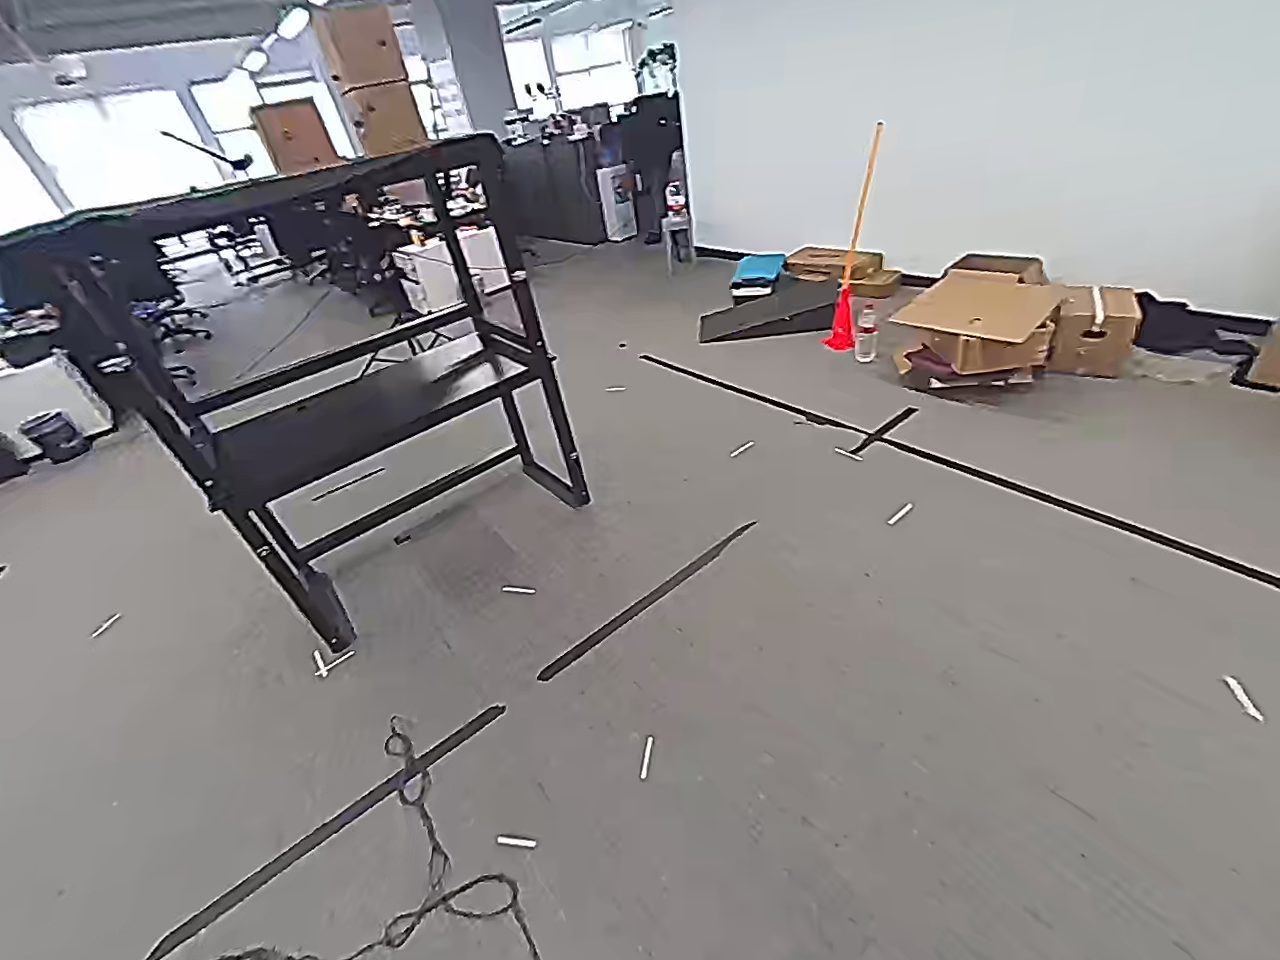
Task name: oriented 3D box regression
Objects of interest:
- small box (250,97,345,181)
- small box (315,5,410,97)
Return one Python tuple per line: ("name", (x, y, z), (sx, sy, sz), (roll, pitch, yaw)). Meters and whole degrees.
("small box", (-0.957, -0.953, 1.518), (0.168, 0.176, 0.179), (-29, 38, -23))
("small box", (-0.770, -1.197, 1.518), (0.179, 0.176, 0.168), (-32, 38, -24))
